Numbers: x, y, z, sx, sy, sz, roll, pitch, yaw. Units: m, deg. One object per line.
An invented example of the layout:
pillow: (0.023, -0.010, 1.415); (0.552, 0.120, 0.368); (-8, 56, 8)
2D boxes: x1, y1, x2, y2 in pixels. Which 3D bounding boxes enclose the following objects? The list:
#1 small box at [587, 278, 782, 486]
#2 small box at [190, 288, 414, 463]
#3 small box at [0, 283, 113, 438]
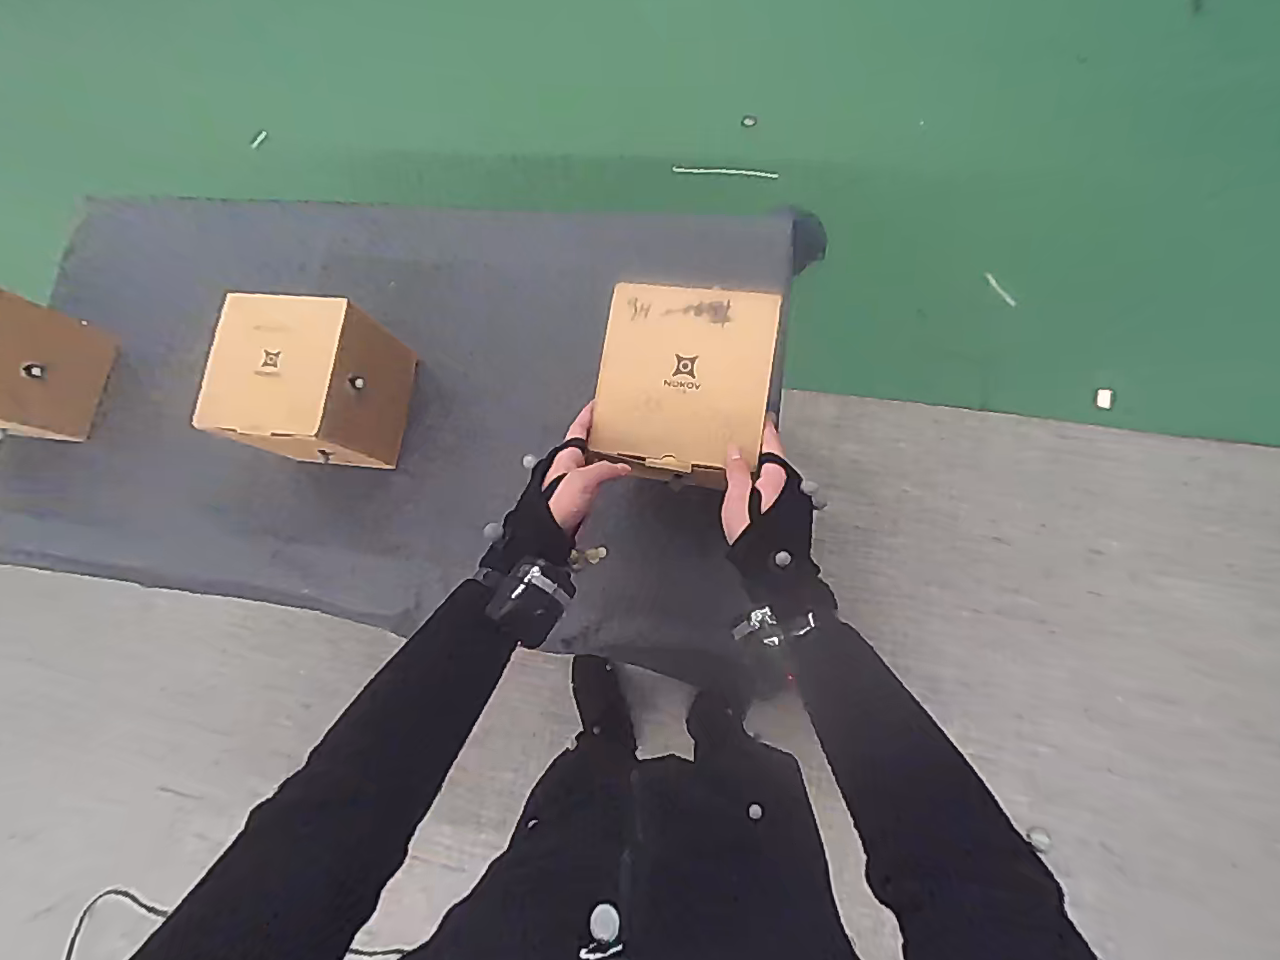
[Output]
small box: (0.055, -0.094, 0.587); (0.168, 0.176, 0.179); (8, 85, 11)
small box: (-0.425, -0.127, 0.711); (0.168, 0.176, 0.179); (5, 78, 7)
small box: (-0.935, -0.173, 0.786); (0.168, 0.176, 0.179); (6, 79, 9)
